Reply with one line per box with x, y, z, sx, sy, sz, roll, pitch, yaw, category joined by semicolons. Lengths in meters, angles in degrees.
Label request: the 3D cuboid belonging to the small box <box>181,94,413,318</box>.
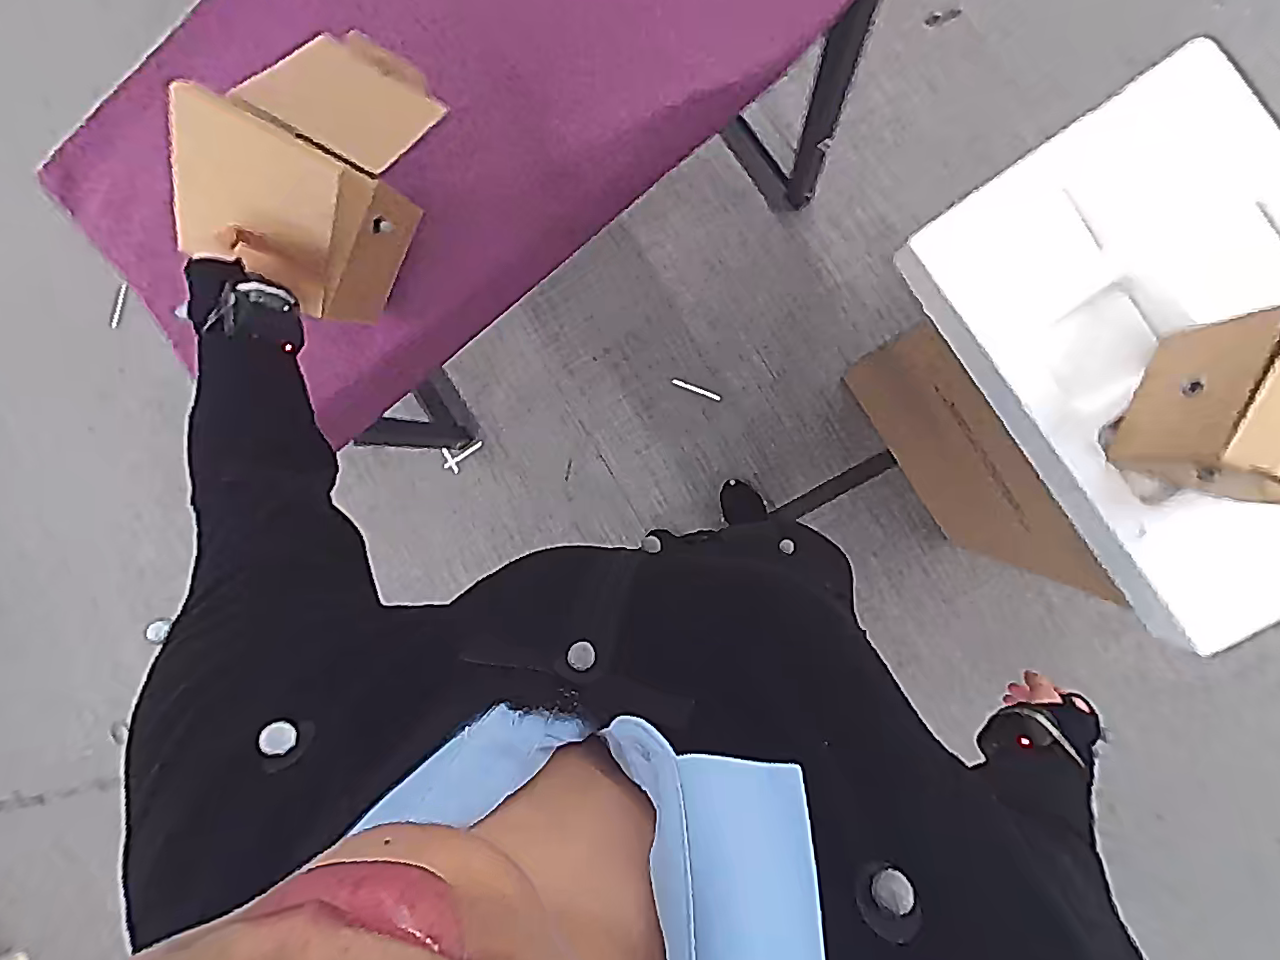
-0.410;-0.322;0.681;0.168;0.176;0.179;25;100;-9;small box
